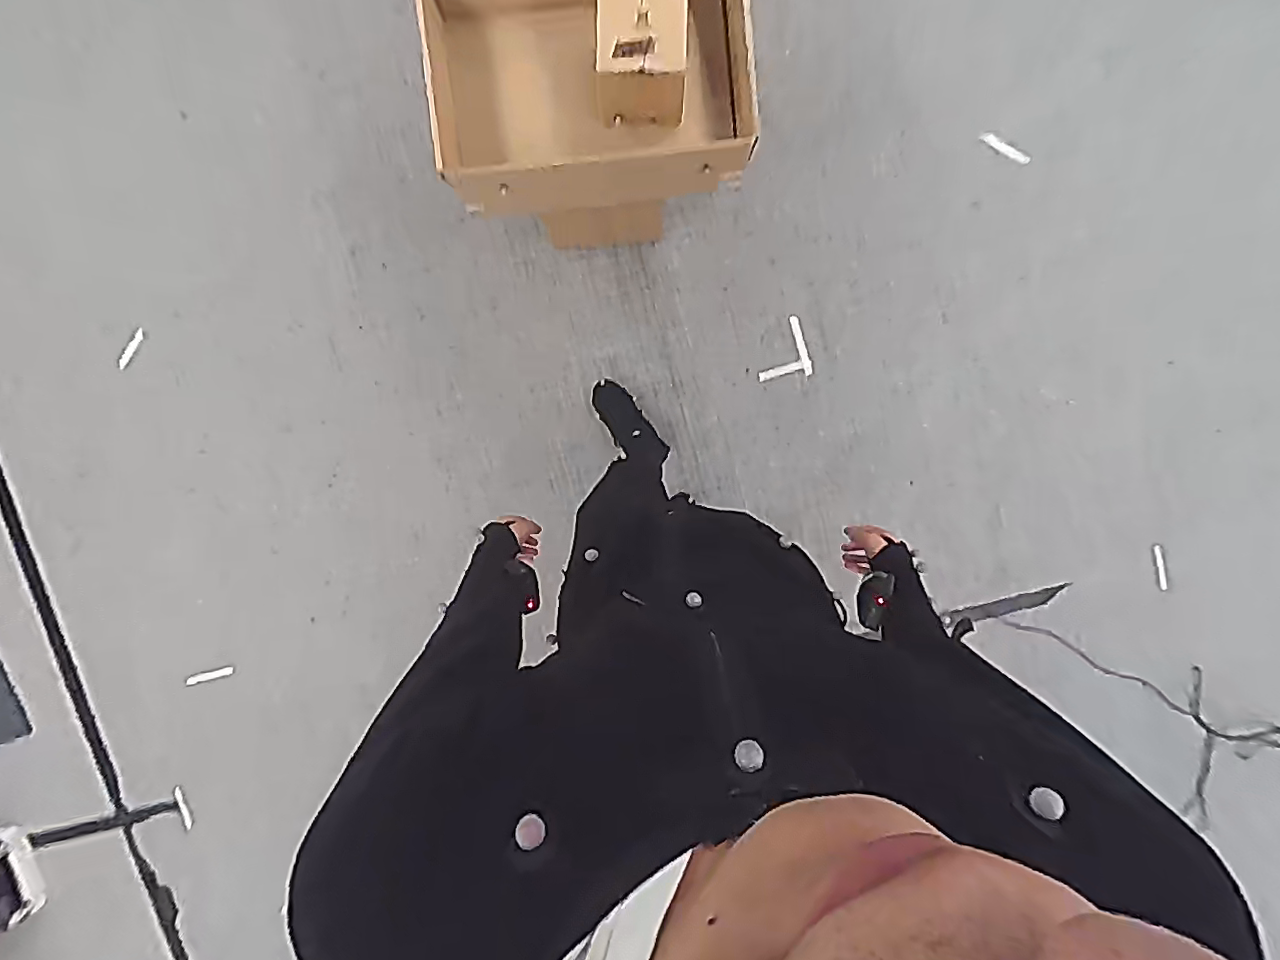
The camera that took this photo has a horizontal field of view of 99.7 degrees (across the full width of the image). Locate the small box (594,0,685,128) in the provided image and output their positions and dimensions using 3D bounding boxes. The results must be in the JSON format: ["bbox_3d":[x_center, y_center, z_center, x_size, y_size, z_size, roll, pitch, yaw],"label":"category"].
[{"bbox_3d":[0.001,-0.823,1.059,0.168,0.176,0.179,1,93,1],"label":"small box"}]
